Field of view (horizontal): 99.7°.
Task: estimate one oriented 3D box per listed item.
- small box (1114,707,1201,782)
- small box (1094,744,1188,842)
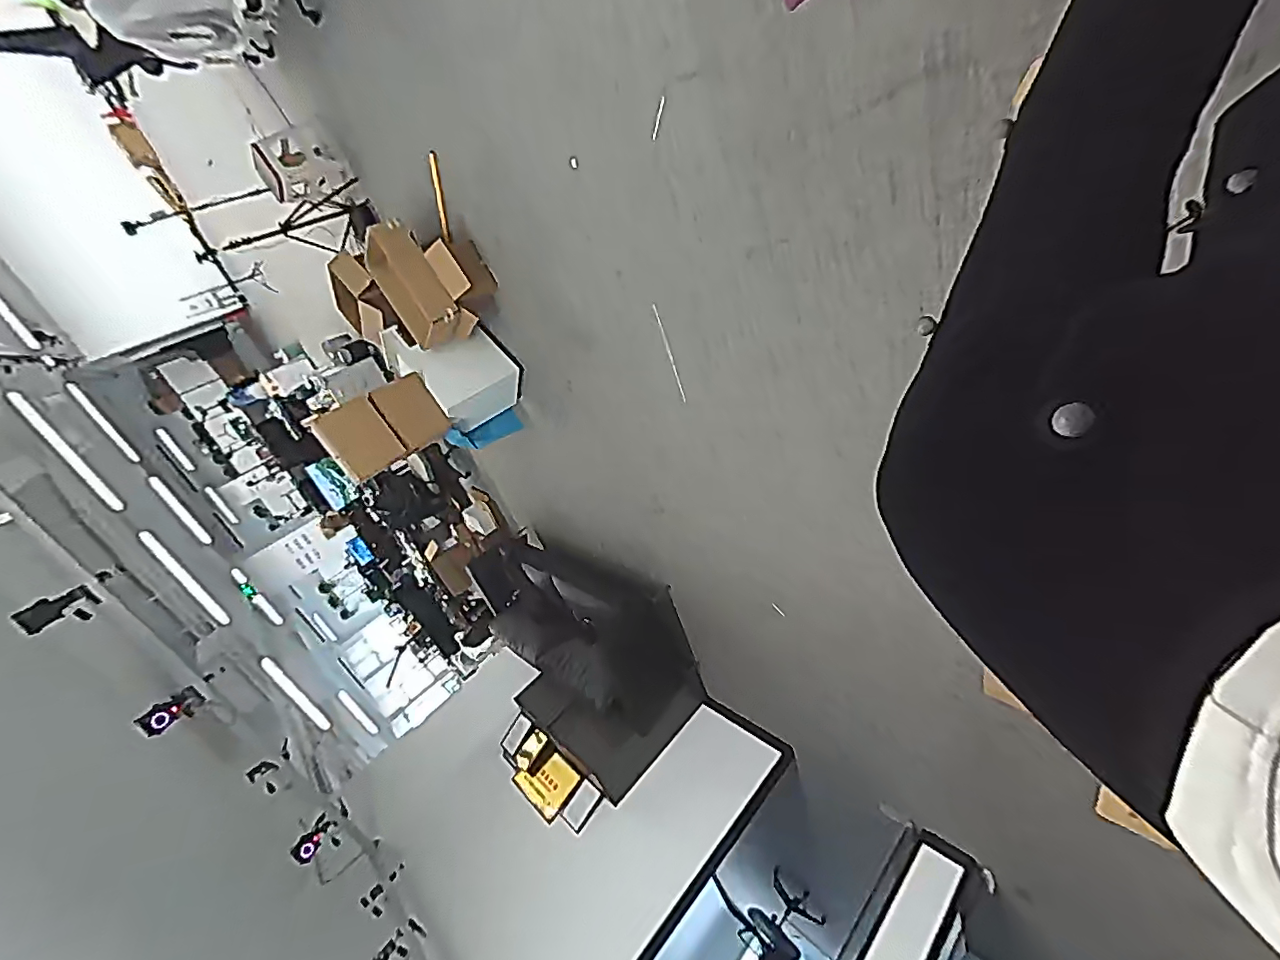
[{"bbox_3d":[1.666,0.872,1.750,0.179,0.176,0.168,16,136,46],"label":"small box"},{"bbox_3d":[1.551,0.958,1.676,0.179,0.176,0.168,16,134,45],"label":"small box"}]
